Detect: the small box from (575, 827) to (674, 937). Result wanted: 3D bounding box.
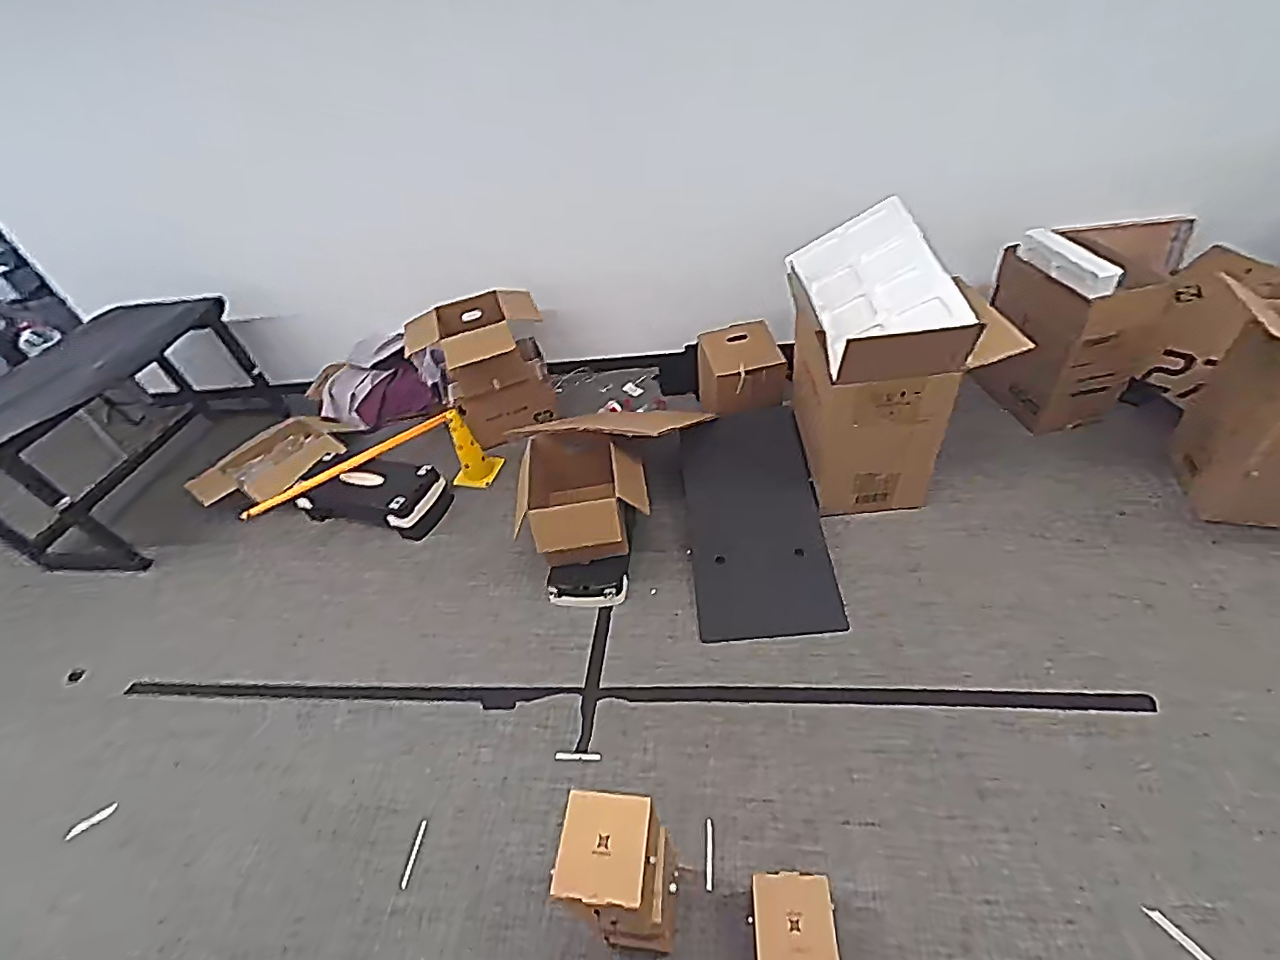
[{"bbox_3d":[-0.025,0.855,1.157,0.179,0.176,0.168,-1,44,9],"label":"small box"}]

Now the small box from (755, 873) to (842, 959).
[{"bbox_3d":[0.341,0.991,1.185,0.168,0.176,0.179,-4,44,9],"label":"small box"}]

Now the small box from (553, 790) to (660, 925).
[{"bbox_3d":[-0.055,0.734,1.053,0.168,0.176,0.179,0,44,10],"label":"small box"}]
